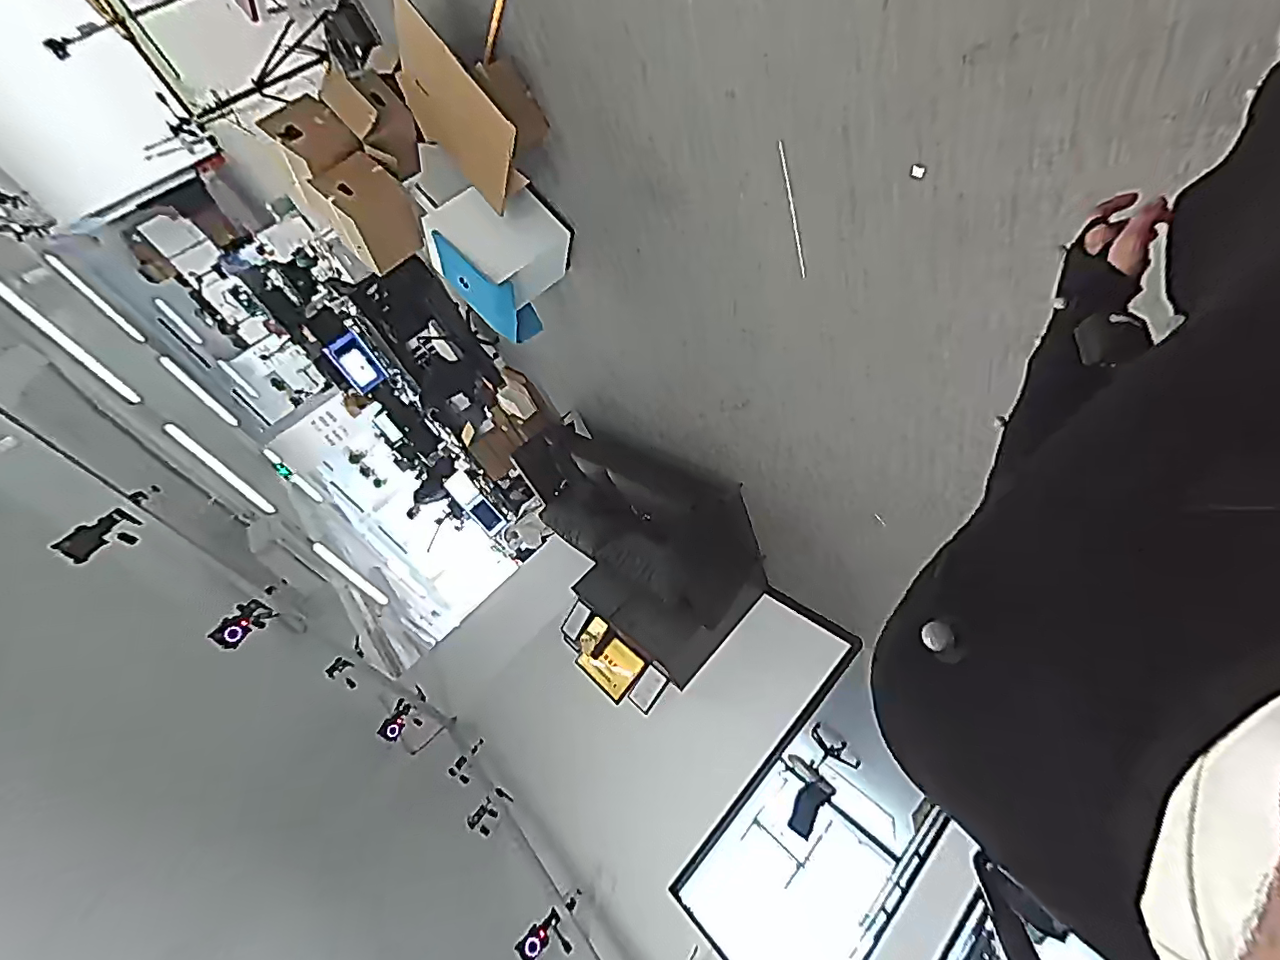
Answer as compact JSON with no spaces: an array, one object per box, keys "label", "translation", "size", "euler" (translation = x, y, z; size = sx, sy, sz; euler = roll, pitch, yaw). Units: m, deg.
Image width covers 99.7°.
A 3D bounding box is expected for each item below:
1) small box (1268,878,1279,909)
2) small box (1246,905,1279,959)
[{"label":"small box","translation":[1.628,0.975,1.243],"size":[0.168,0.176,0.179],"euler":[30,155,40]},{"label":"small box","translation":[1.514,1.079,1.191],"size":[0.168,0.176,0.179],"euler":[30,155,39]}]
